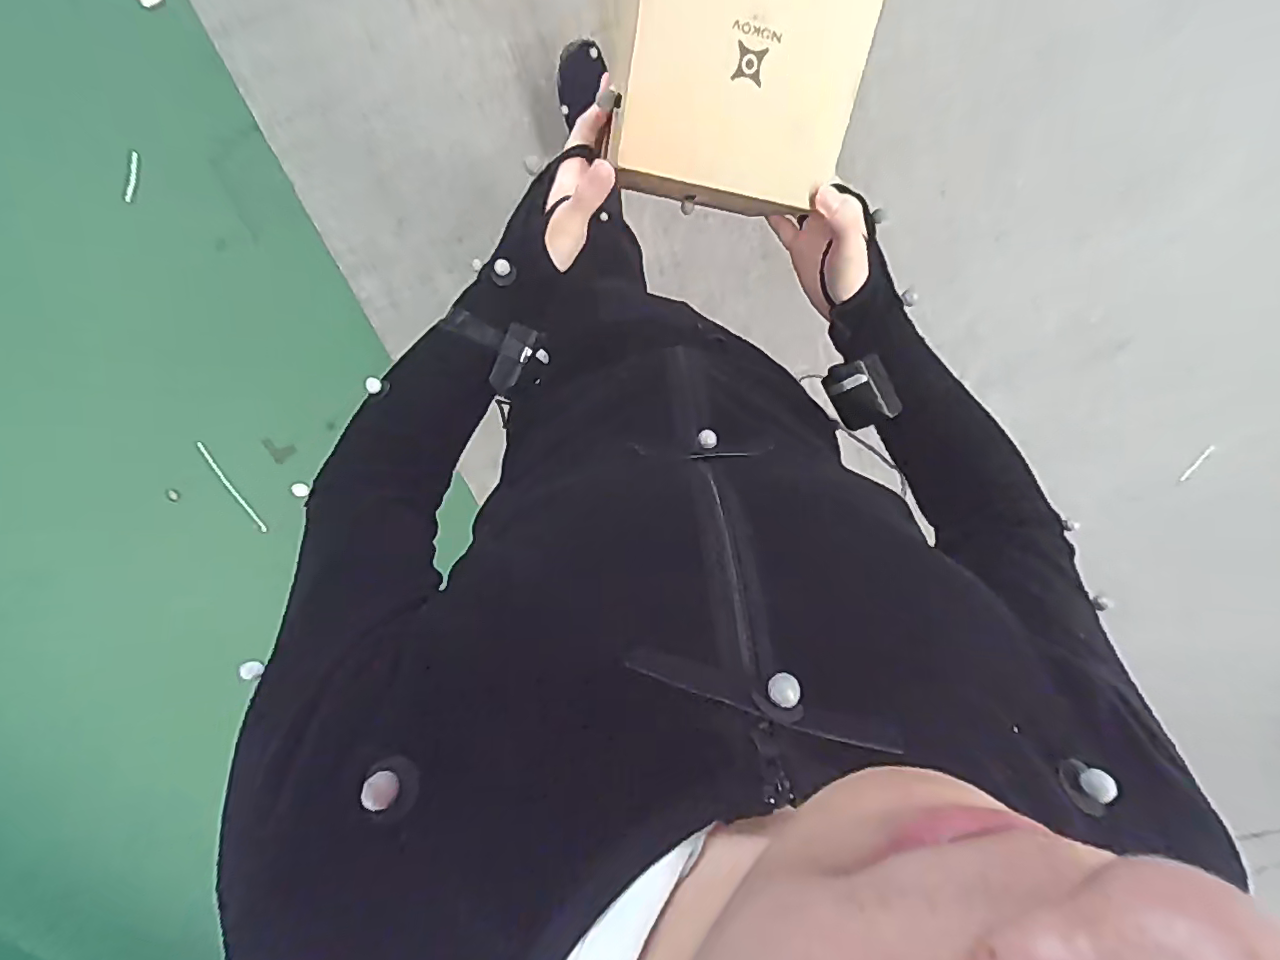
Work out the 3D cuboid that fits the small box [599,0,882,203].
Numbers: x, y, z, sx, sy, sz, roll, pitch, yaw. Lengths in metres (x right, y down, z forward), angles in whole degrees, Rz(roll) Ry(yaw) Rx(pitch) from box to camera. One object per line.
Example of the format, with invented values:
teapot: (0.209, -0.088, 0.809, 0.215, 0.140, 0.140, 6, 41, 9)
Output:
small box: (0.064, -0.334, 0.434, 0.168, 0.176, 0.179, 7, 113, -13)
